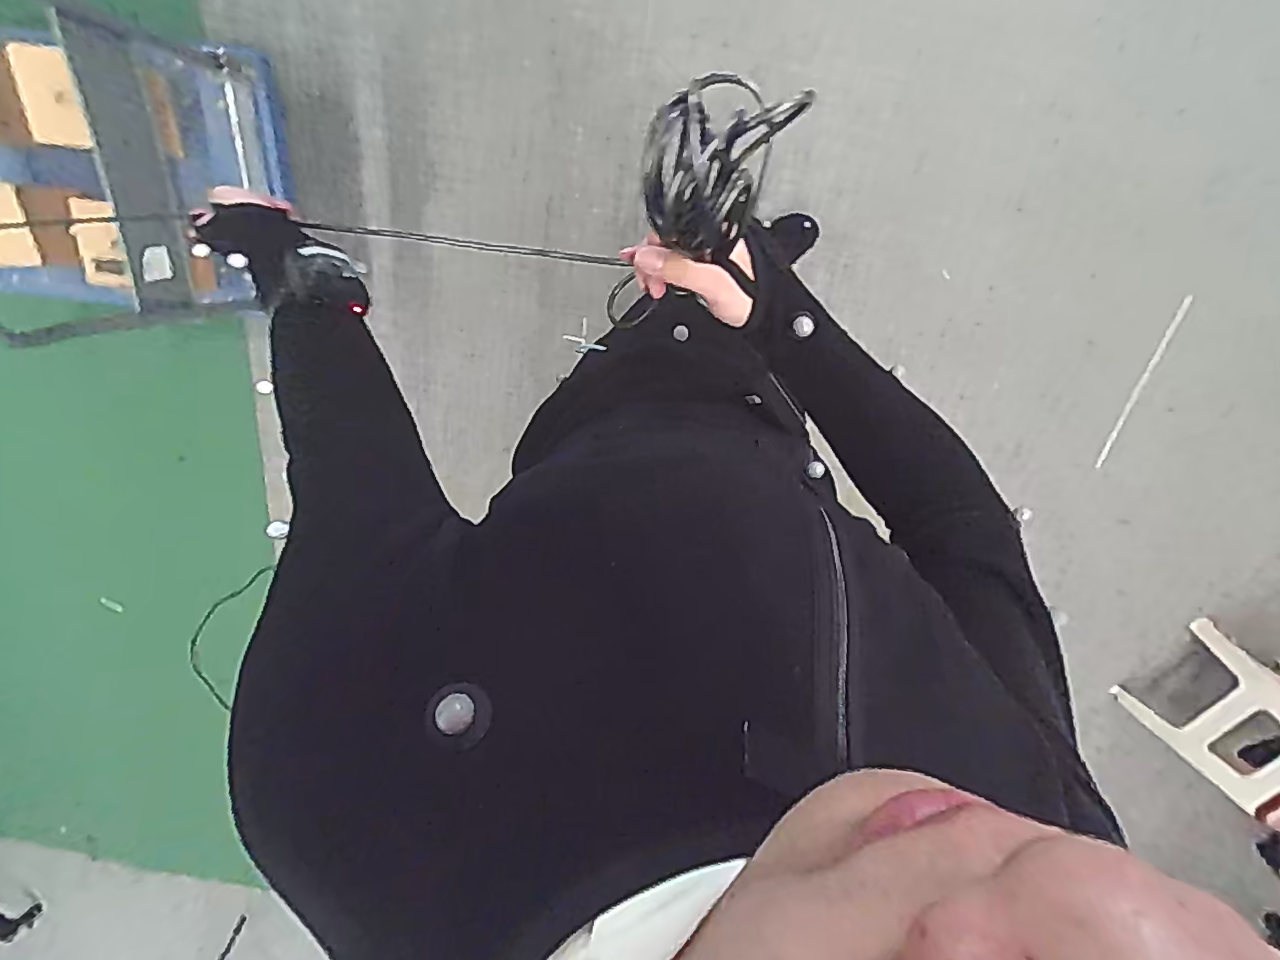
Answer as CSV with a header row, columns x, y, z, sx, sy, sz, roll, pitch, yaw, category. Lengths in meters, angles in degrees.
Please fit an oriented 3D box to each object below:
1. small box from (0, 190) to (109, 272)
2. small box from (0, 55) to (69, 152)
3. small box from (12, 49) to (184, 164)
x,y,z,sx,sy,sz,roll,pitch,yaw,category
-1.407,-0.580,1.261,0.179,0.176,0.168,3,113,4,small box
-1.404,-0.811,1.160,0.179,0.176,0.168,2,114,3,small box
-1.136,-0.782,1.150,0.179,0.176,0.168,7,114,1,small box
